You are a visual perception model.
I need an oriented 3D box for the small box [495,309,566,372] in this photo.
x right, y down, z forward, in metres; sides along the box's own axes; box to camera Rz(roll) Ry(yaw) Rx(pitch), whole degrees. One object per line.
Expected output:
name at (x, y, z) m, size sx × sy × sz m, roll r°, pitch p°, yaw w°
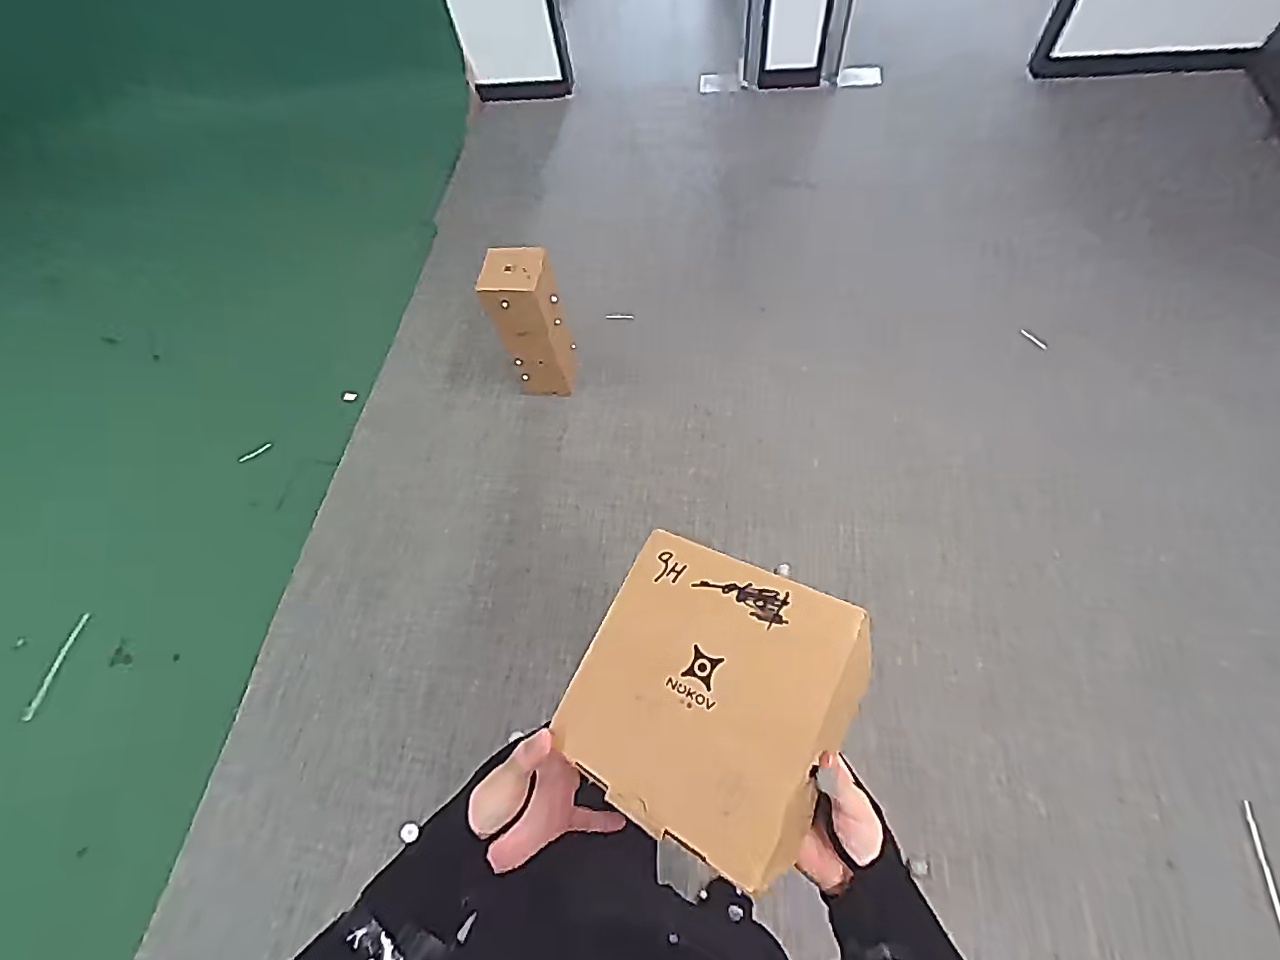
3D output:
small box at (-0.343, -0.463, 1.734) m, size 0.168 × 0.176 × 0.179 m, roll 2°, pitch 62°, yaw 7°

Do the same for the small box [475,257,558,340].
small box at (-0.354, -0.529, 1.582) m, size 0.179 × 0.176 × 0.168 m, roll 4°, pitch 63°, yaw 7°

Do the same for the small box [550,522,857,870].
small box at (0.067, 0.163, 0.433) m, size 0.168 × 0.176 × 0.179 m, roll 18°, pitch 71°, yaw 30°
